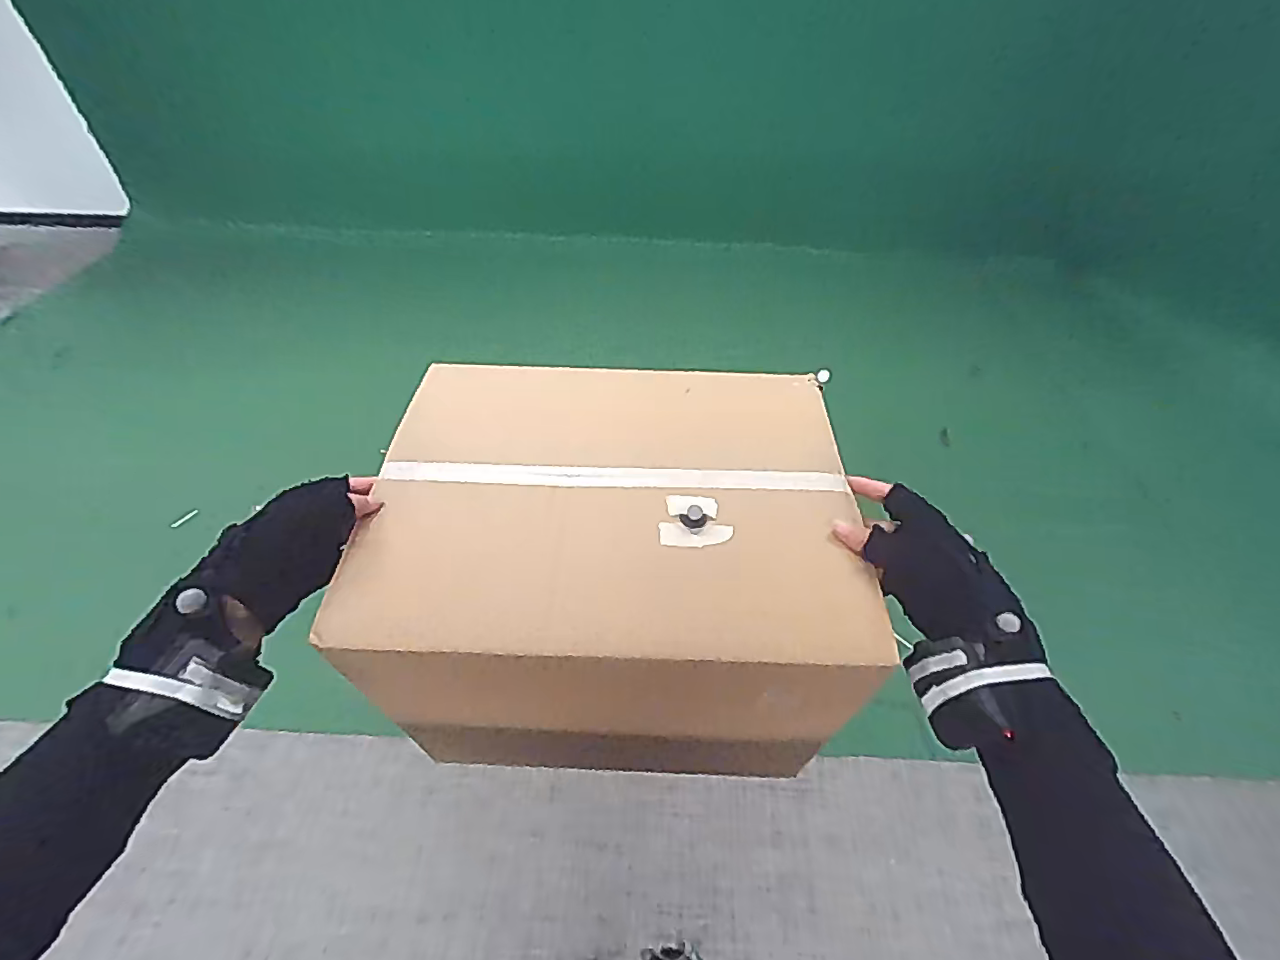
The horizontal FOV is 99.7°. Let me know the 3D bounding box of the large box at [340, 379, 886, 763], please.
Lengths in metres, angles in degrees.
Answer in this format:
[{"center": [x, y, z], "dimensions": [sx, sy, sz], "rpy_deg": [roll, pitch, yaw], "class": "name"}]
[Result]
[{"center": [-0.020, 0.105, 0.595], "dimensions": [0.408, 0.320, 0.320], "rpy_deg": [1, 50, 1], "class": "large box"}]
